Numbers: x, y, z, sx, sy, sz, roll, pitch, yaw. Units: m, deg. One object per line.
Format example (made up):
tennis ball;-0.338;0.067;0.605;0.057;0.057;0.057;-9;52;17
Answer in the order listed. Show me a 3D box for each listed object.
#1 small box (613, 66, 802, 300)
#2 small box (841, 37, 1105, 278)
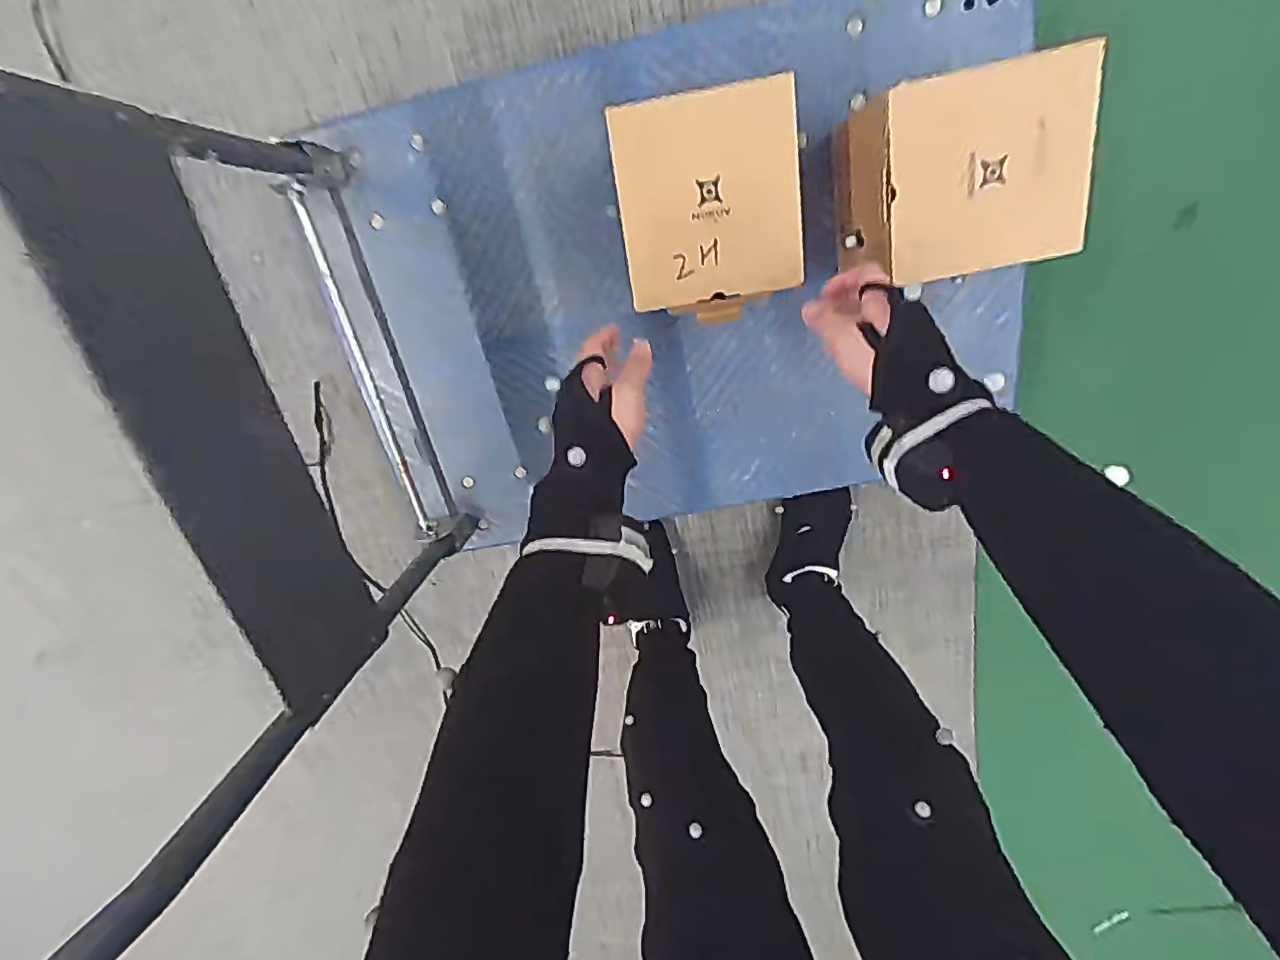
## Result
small box;0.068;-0.294;0.571;0.168;0.176;0.179;-6;112;6
small box;0.313;-0.308;0.555;0.179;0.176;0.168;-8;112;6
